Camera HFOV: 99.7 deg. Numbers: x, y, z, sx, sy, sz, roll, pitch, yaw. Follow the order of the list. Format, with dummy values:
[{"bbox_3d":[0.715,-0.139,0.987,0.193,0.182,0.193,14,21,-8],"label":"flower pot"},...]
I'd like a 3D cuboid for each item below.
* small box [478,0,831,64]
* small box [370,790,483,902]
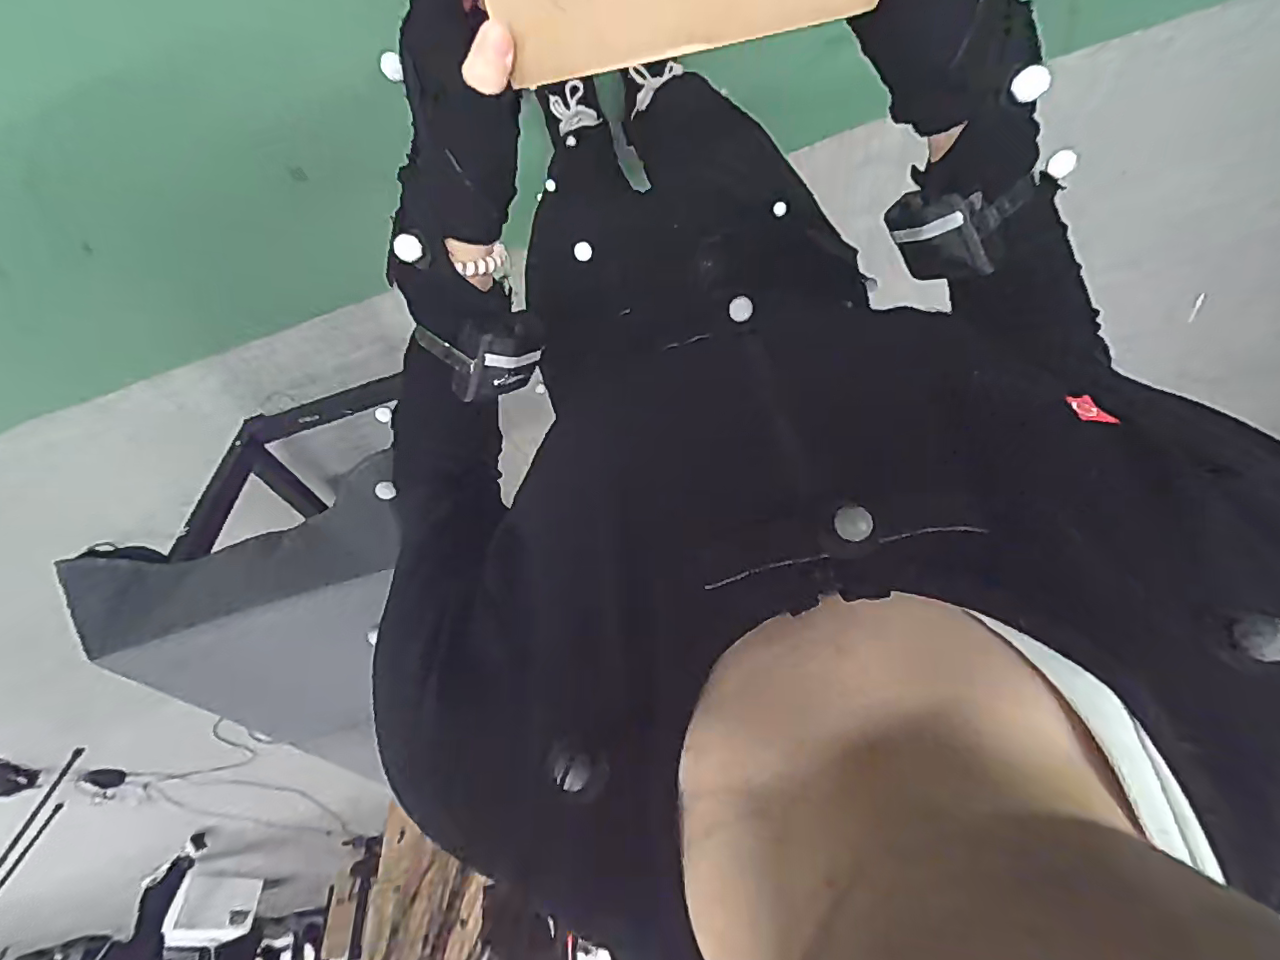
[{"bbox_3d":[-0.001,-0.317,0.218,0.179,0.176,0.168,-10,152,3],"label":"small box"},{"bbox_3d":[-0.472,0.823,1.223,0.168,0.176,0.179,-17,135,6],"label":"small box"}]
